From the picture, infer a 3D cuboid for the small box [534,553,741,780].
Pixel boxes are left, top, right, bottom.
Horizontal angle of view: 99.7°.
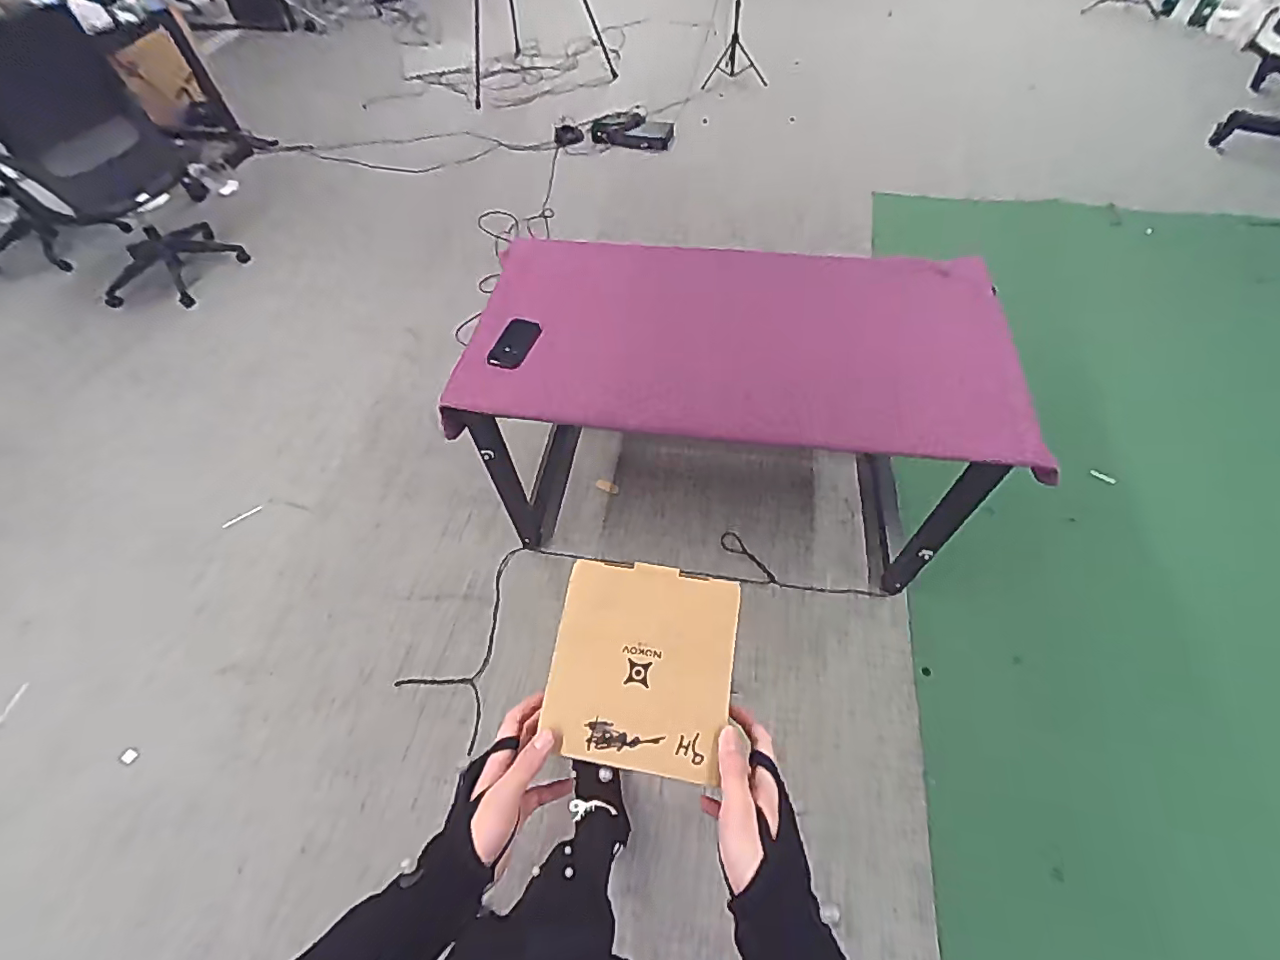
[{"bbox_3d":[0.008,0.192,0.565,0.168,0.176,0.179,7,68,10],"label":"small box"}]
